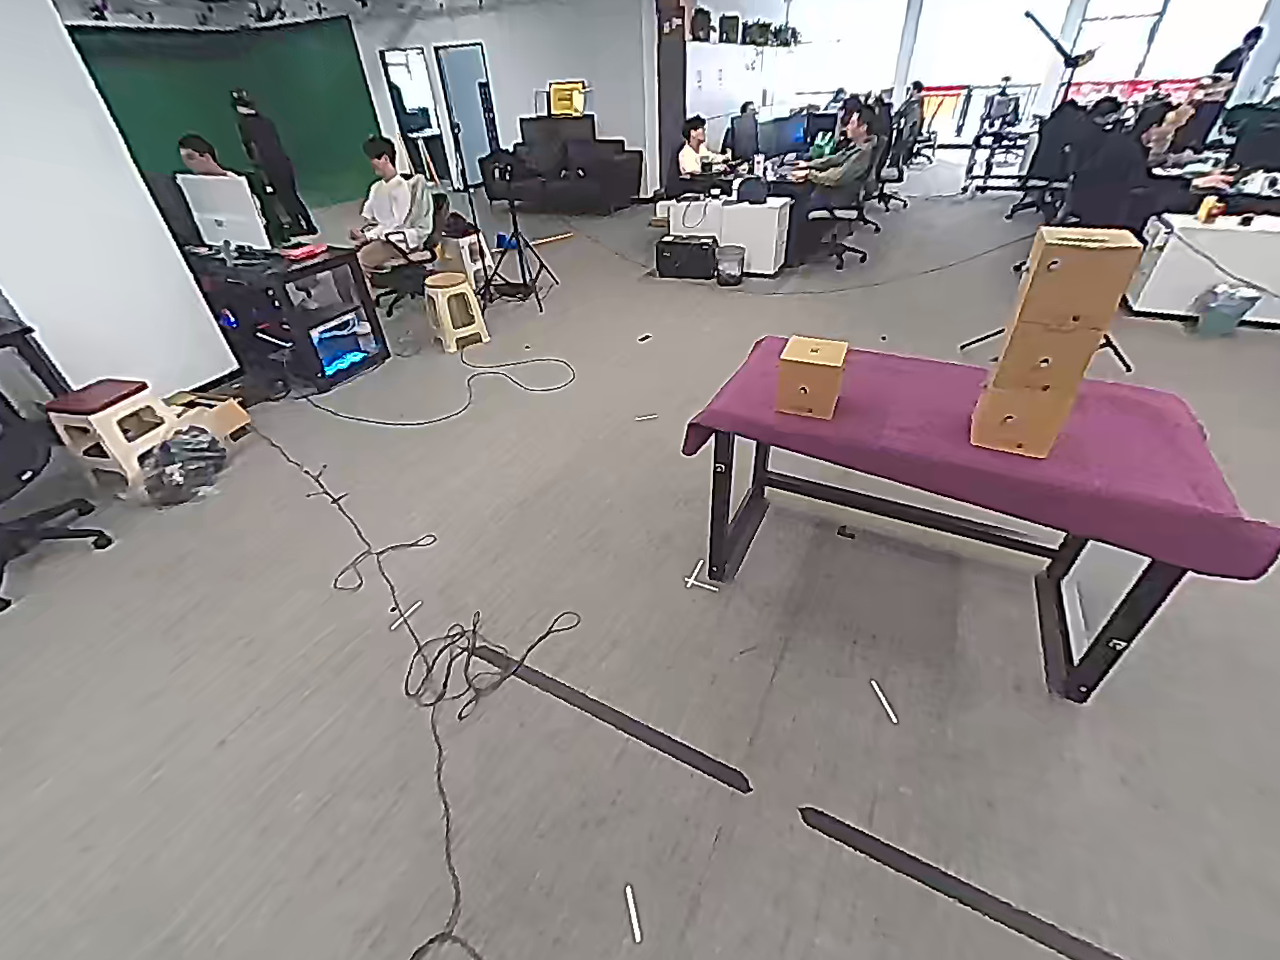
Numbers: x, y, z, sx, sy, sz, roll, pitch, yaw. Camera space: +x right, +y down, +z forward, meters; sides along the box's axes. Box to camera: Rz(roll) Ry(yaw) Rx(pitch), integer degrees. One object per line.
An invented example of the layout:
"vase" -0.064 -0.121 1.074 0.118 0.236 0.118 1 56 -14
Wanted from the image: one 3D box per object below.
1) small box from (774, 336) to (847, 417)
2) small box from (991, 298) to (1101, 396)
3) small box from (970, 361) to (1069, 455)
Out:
"small box" 0.492 -0.299 1.569 0.168 0.176 0.179 13 39 20
"small box" 0.960 -0.318 1.292 0.168 0.176 0.179 16 41 24
"small box" 0.965 -0.184 1.386 0.168 0.176 0.179 15 40 23
